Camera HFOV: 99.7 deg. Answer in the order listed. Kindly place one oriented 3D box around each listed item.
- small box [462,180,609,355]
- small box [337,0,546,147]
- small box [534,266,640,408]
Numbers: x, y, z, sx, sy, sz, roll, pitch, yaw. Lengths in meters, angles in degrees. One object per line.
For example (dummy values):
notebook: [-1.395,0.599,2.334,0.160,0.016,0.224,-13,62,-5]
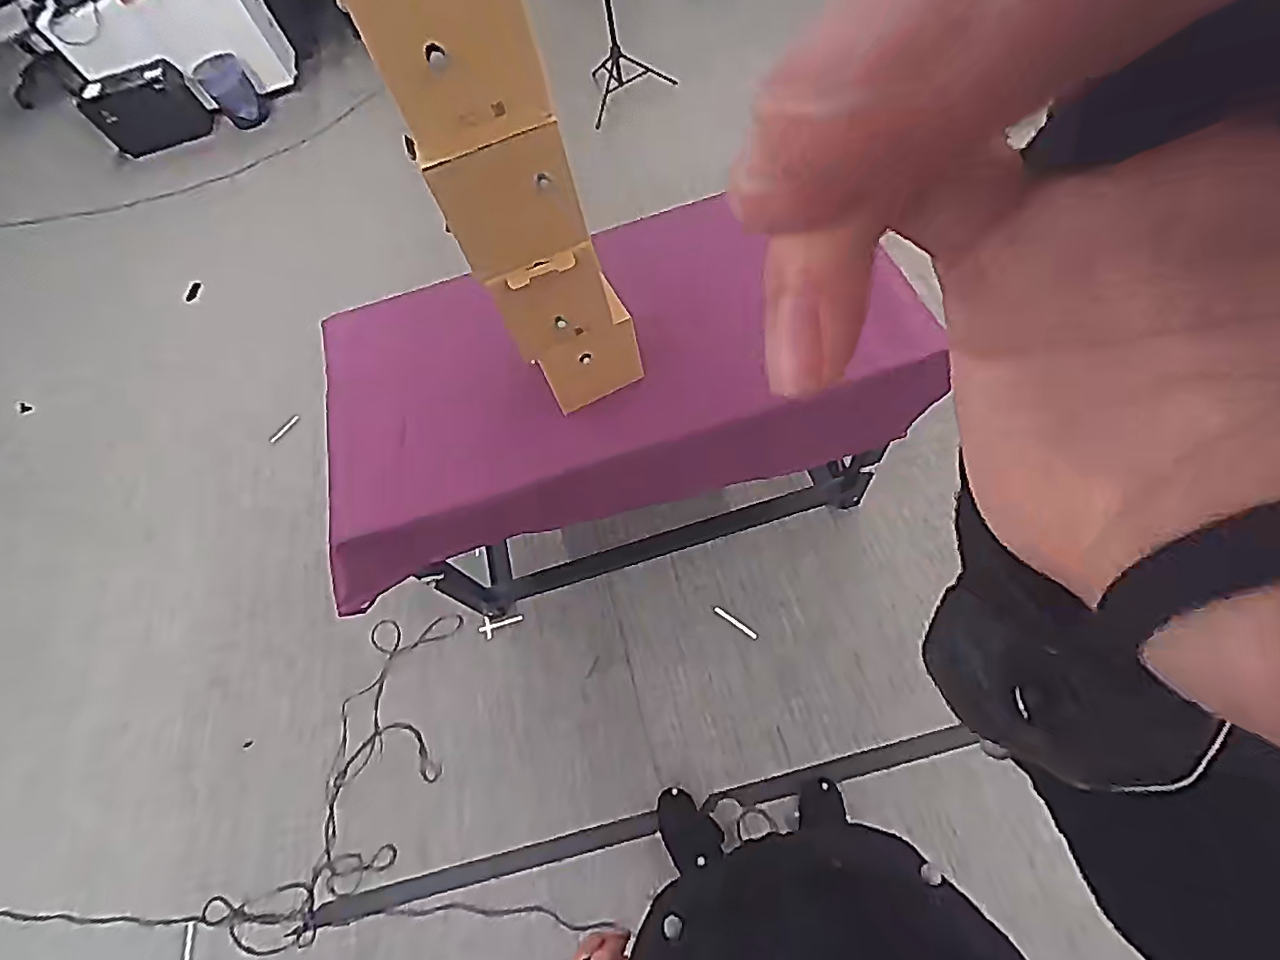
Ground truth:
small box: [-0.164,-0.339,0.879,0.168,0.176,0.179,-23,62,-1]
small box: [-0.220,-0.509,0.604,0.168,0.176,0.179,-22,61,-2]
small box: [-0.117,-0.266,1.020,0.179,0.176,0.168,-27,62,-5]
